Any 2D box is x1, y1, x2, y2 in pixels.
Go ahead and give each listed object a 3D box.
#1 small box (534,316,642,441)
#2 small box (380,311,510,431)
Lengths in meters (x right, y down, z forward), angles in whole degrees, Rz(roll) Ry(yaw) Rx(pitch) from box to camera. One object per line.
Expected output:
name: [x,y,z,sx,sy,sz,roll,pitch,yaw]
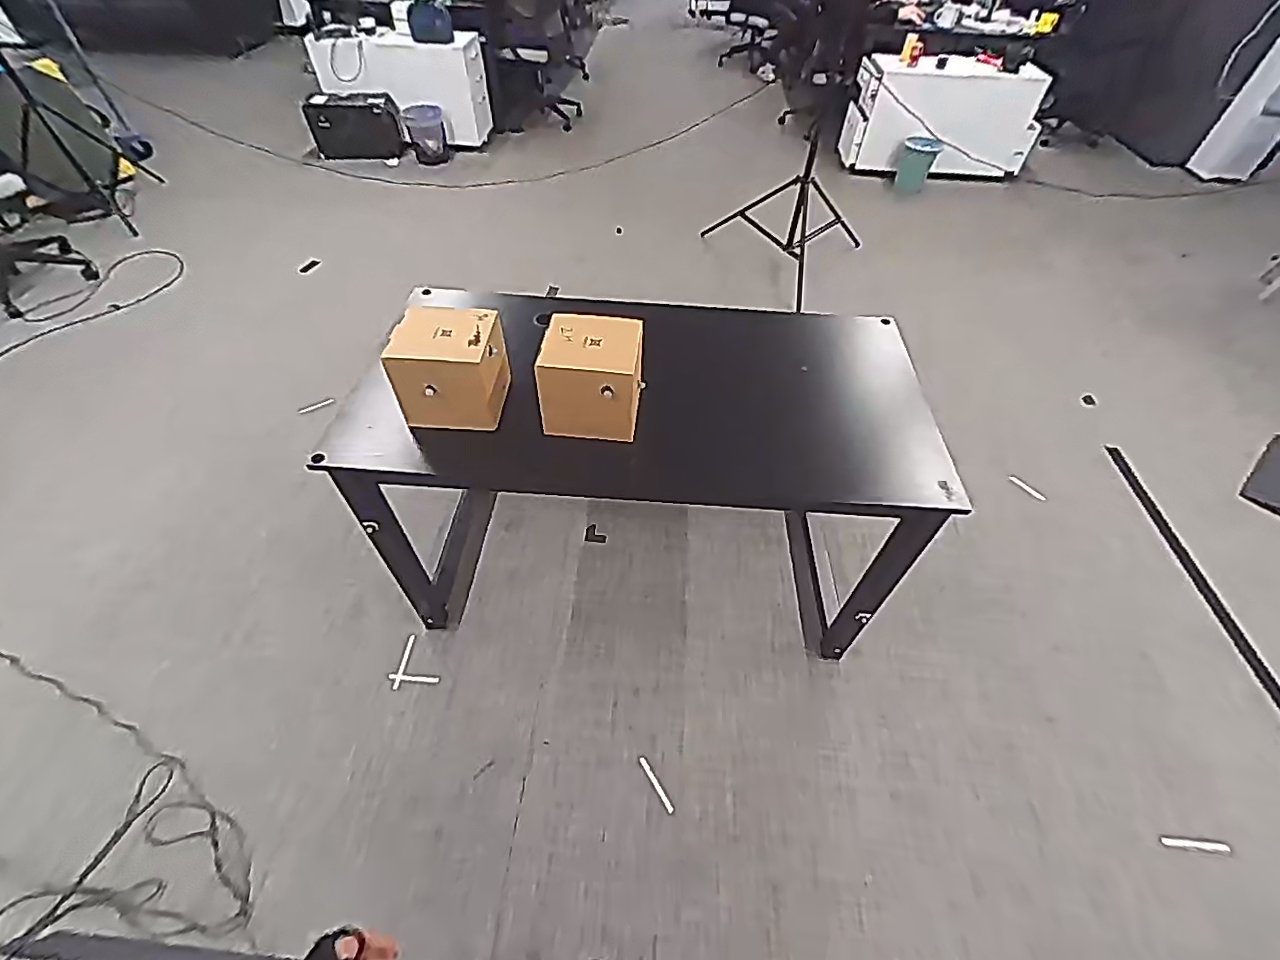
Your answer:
small box: [-0.093,-0.192,1.043,0.179,0.176,0.168,5,49,3]
small box: [-0.366,-0.209,1.051,0.179,0.176,0.168,2,50,0]
